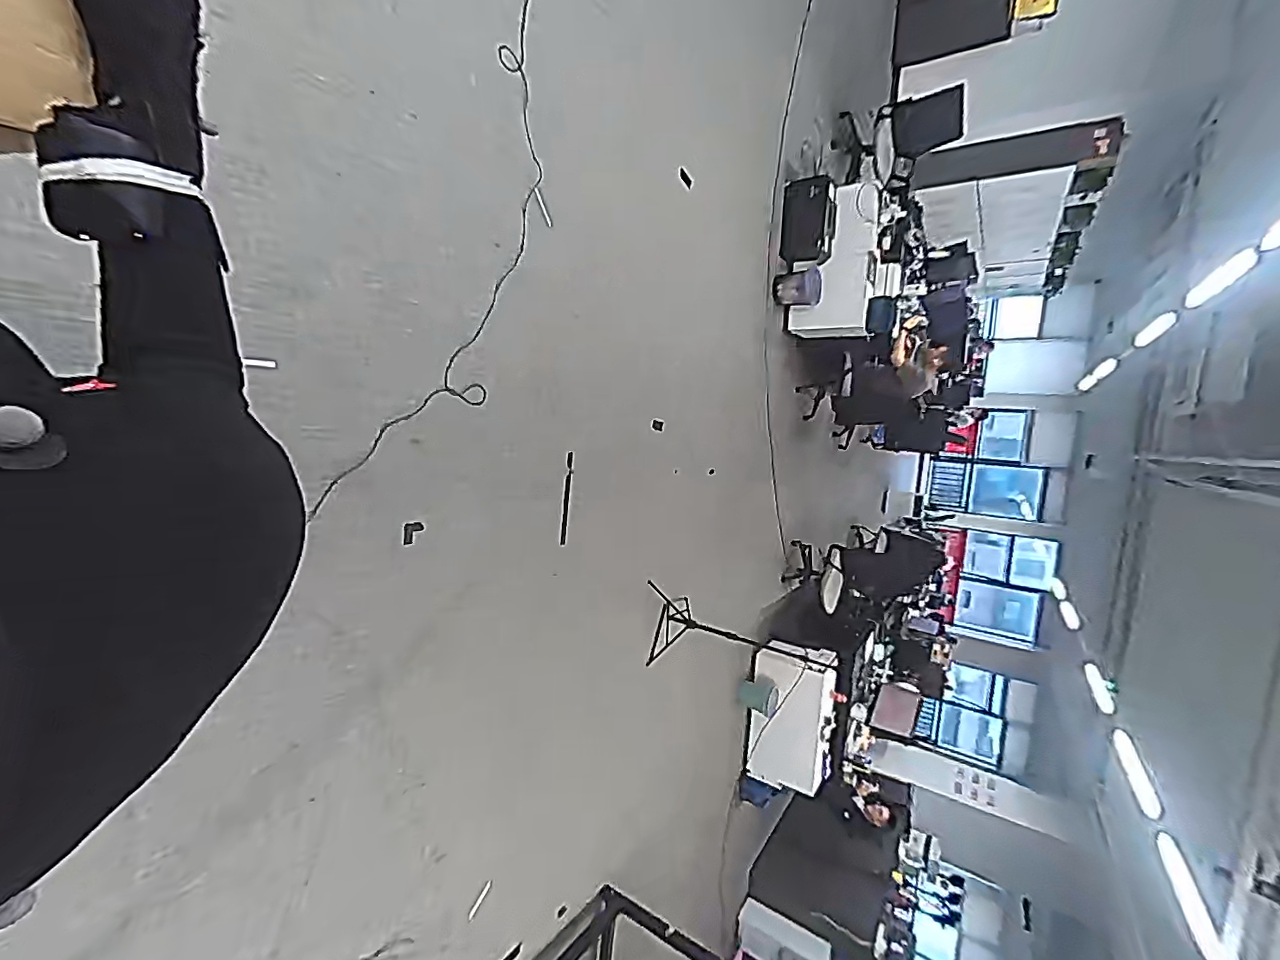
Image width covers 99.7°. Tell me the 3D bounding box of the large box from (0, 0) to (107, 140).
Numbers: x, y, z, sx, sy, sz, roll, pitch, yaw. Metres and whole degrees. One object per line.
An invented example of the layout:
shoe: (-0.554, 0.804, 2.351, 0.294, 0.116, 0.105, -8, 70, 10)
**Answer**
large box: (-0.580, -0.391, 0.241, 0.408, 0.320, 0.320, -17, 121, -57)
